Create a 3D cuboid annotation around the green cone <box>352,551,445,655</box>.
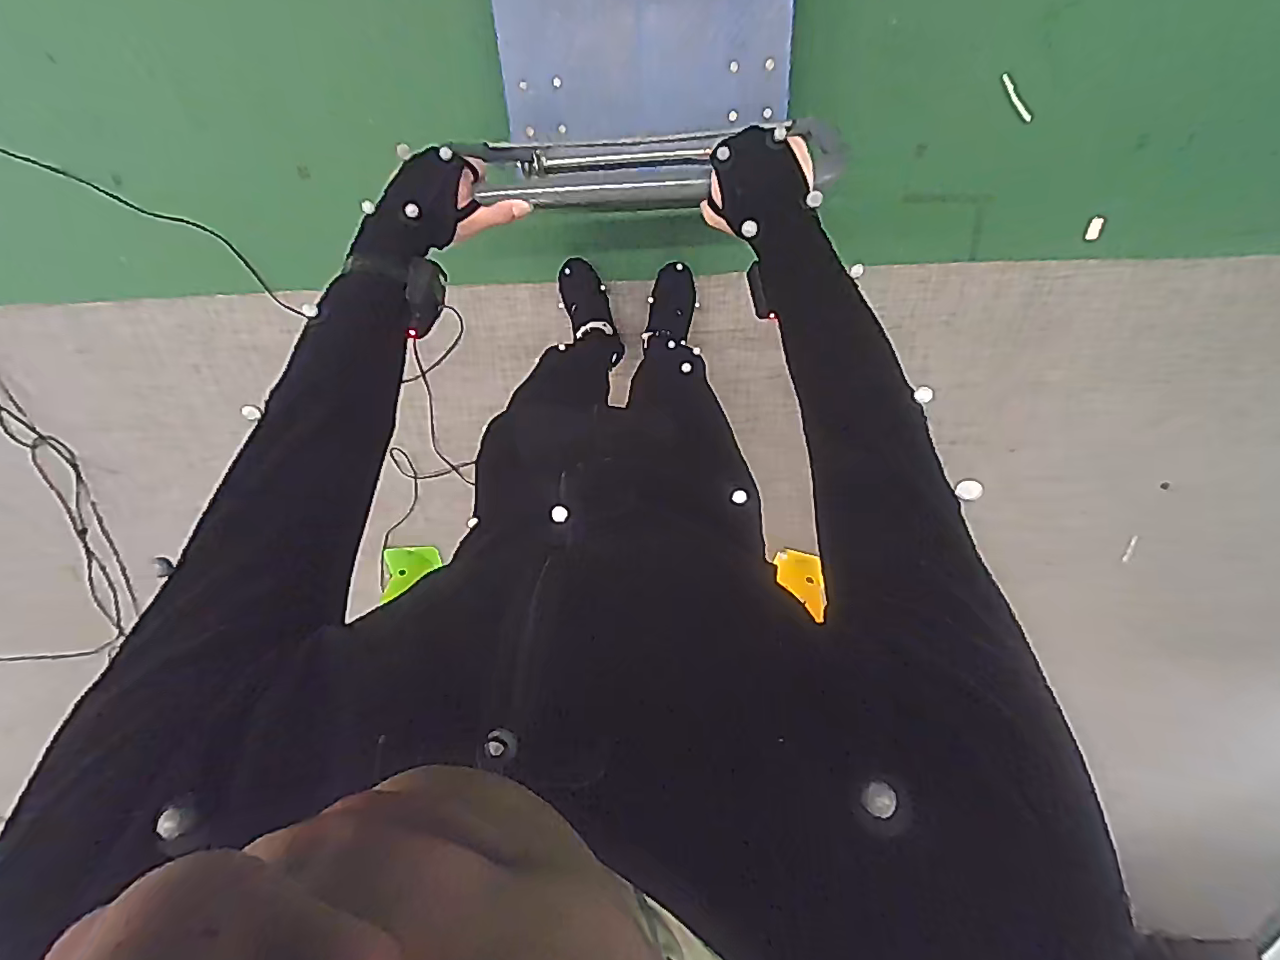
[{"bbox_3d":[-0.812,0.414,1.749,0.202,0.368,0.200,-4,118,7],"label":"green cone"}]
